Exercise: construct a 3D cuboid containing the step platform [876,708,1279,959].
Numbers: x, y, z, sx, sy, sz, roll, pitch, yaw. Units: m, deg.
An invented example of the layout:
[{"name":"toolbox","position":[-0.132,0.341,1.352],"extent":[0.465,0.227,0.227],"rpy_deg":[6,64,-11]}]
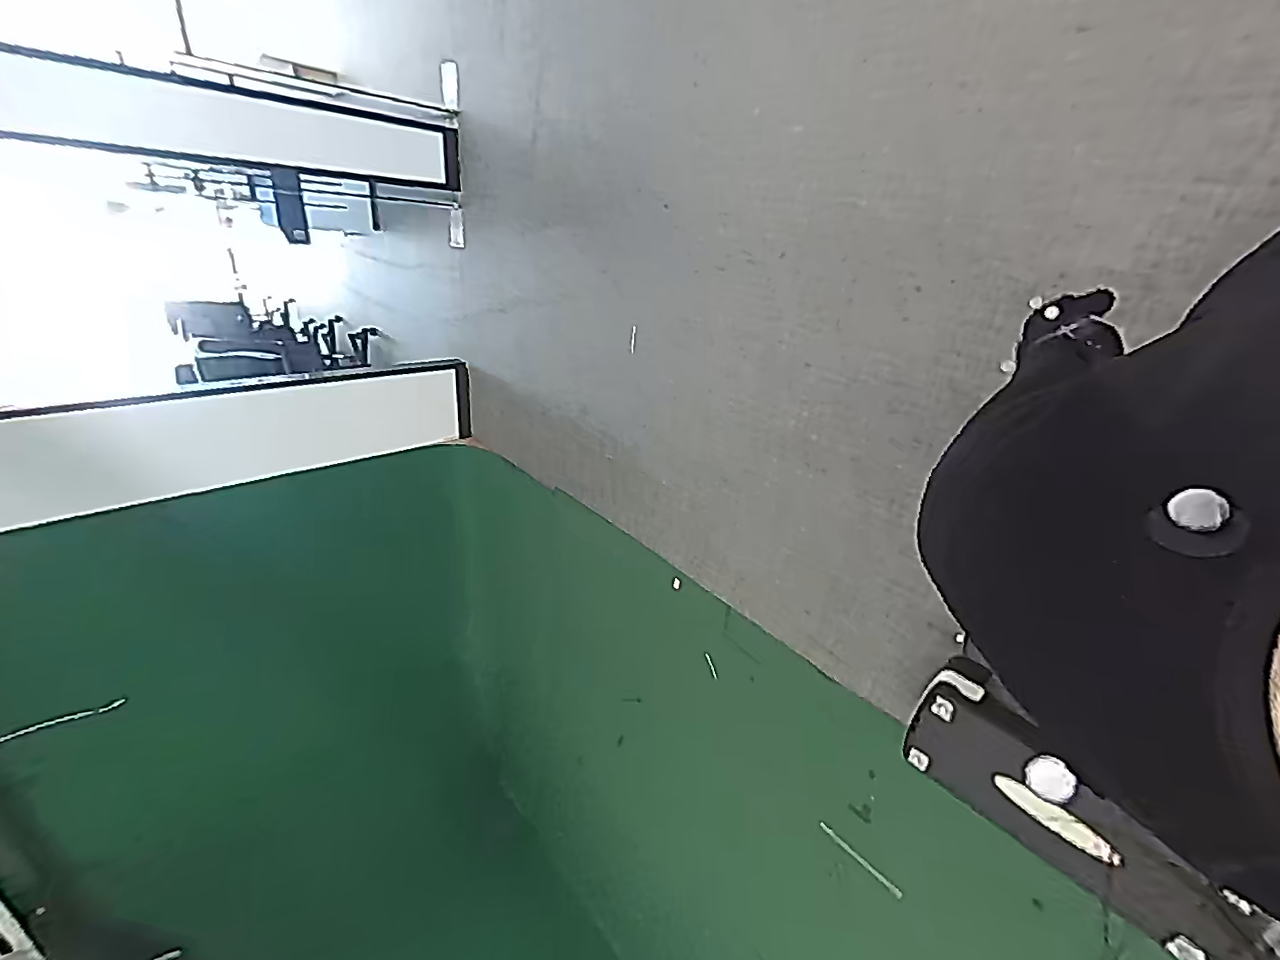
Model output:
[{"name":"step platform","position":[0.896,0.822,1.165],"extent":[0.684,0.204,0.286],"rpy_deg":[28,124,38]}]
